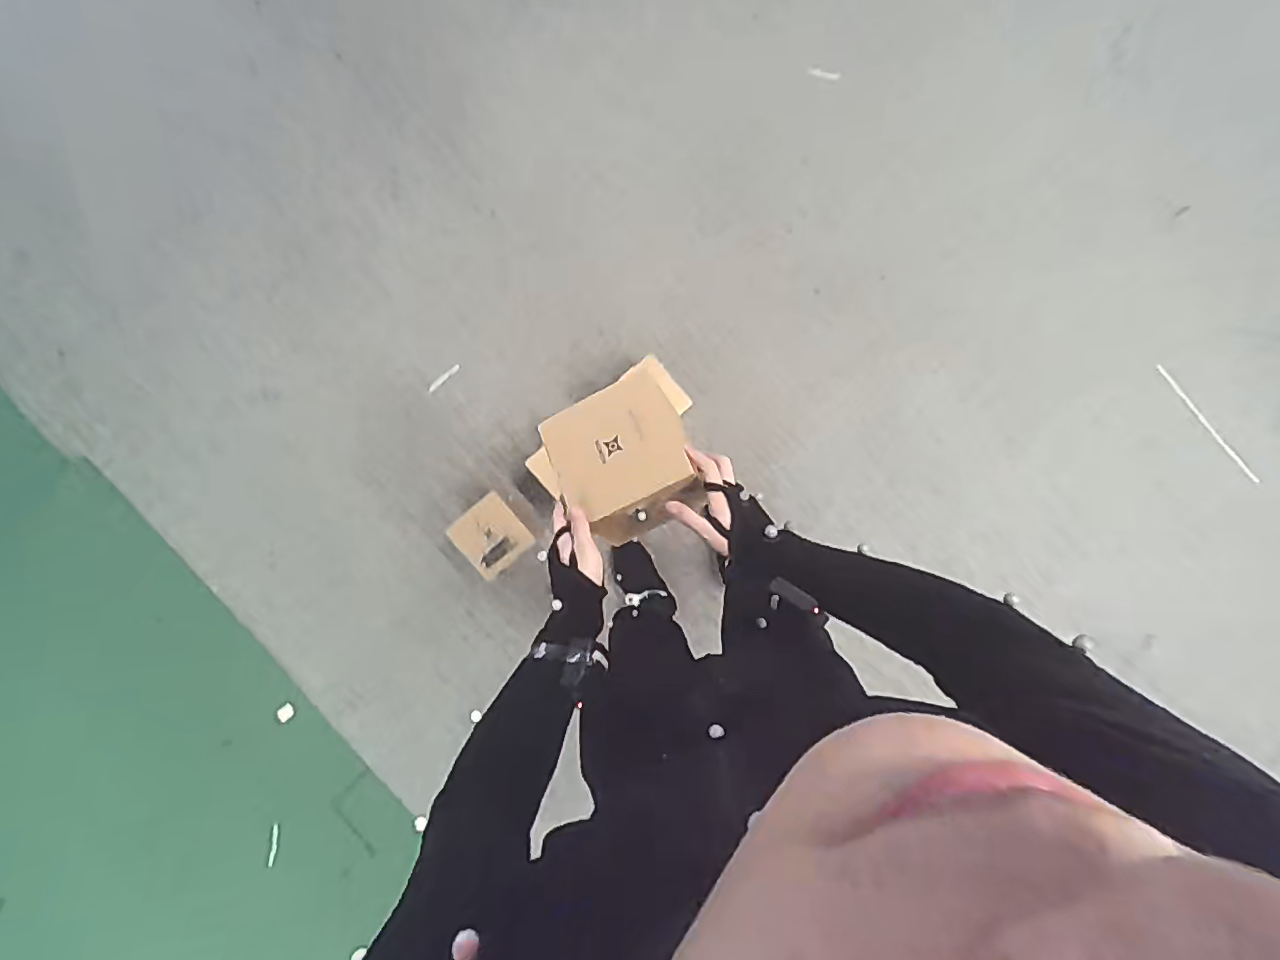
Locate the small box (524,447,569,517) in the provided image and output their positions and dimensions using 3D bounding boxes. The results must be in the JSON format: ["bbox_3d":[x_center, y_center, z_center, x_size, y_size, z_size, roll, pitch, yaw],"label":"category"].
[{"bbox_3d":[-0.183,-0.022,1.459,0.168,0.176,0.179,-41,91,-3],"label":"small box"}]

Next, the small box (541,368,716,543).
[{"bbox_3d":[-0.010,-0.022,0.773,0.179,0.176,0.168,-26,70,10],"label":"small box"}]

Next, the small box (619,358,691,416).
[{"bbox_3d":[0.015,-0.202,1.474,0.168,0.176,0.179,-42,91,-2],"label":"small box"}]
